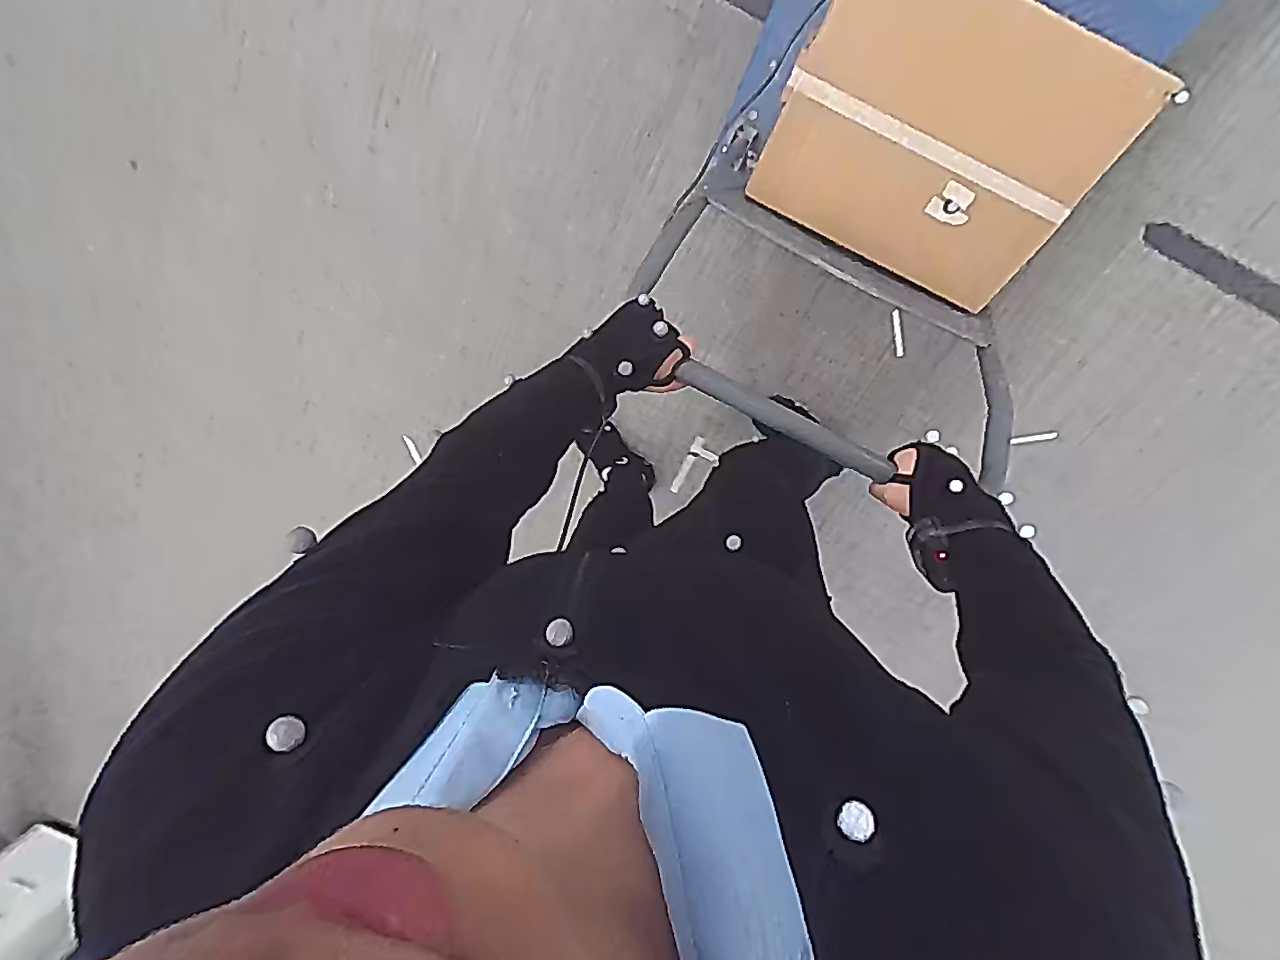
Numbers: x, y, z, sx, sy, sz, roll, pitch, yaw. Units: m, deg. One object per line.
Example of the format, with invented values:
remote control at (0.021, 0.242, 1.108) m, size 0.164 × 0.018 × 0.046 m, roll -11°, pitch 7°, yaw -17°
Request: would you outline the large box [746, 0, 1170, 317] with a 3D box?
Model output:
large box at (0.426, -0.524, 0.828) m, size 0.408 × 0.320 × 0.320 m, roll 27°, pitch 135°, yaw -2°
